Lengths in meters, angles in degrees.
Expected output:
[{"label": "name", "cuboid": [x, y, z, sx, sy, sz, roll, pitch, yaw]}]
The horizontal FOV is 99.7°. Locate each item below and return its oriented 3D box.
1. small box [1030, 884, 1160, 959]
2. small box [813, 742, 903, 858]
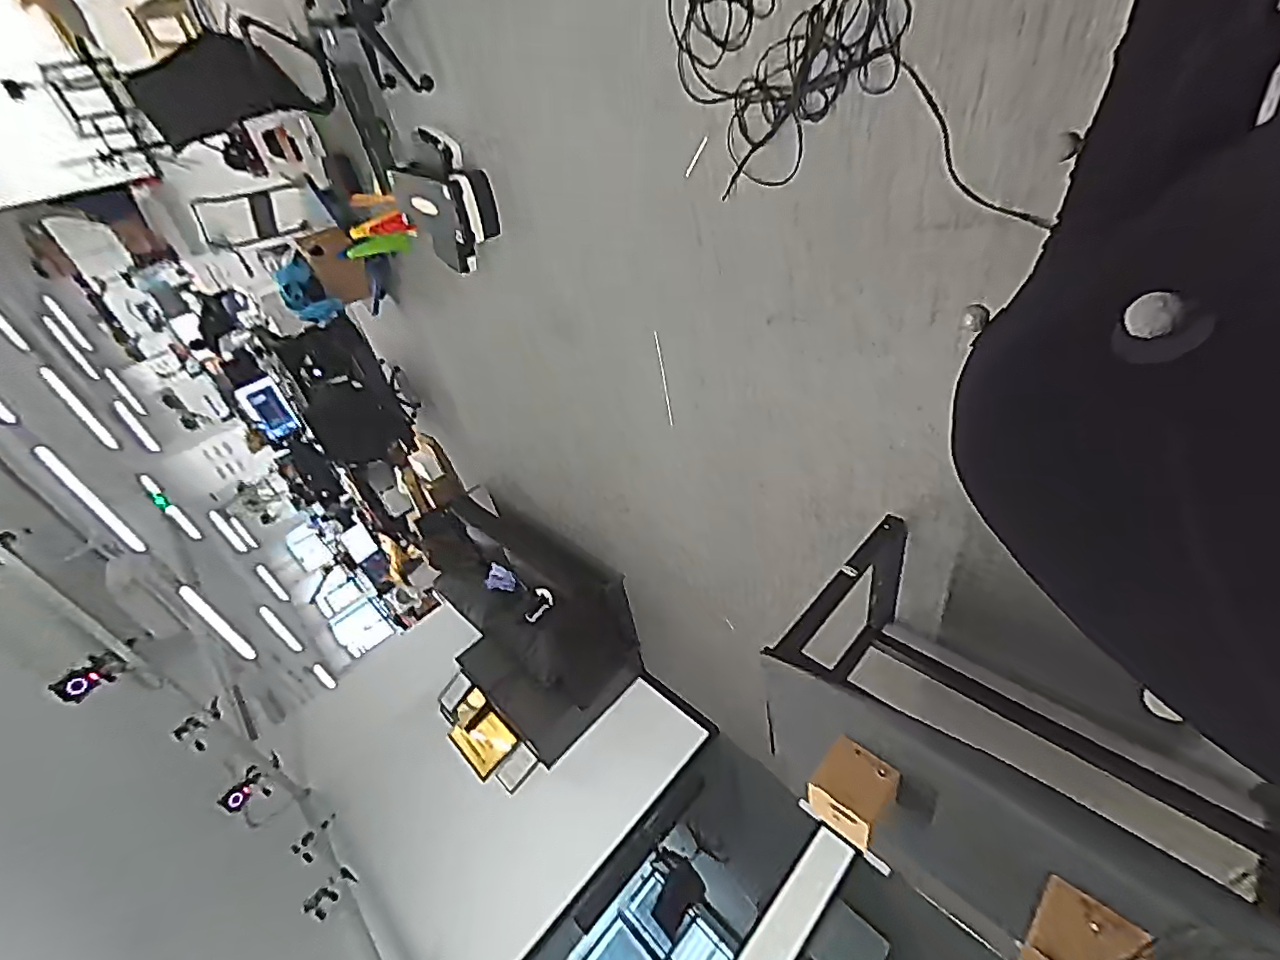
[{"label": "small box", "cuboid": [0.917, 0.984, 1.100, 0.168, 0.176, 0.179, 20, 137, 43]}, {"label": "small box", "cuboid": [0.576, 0.838, 1.430, 0.168, 0.176, 0.179, 24, 140, 41]}]
